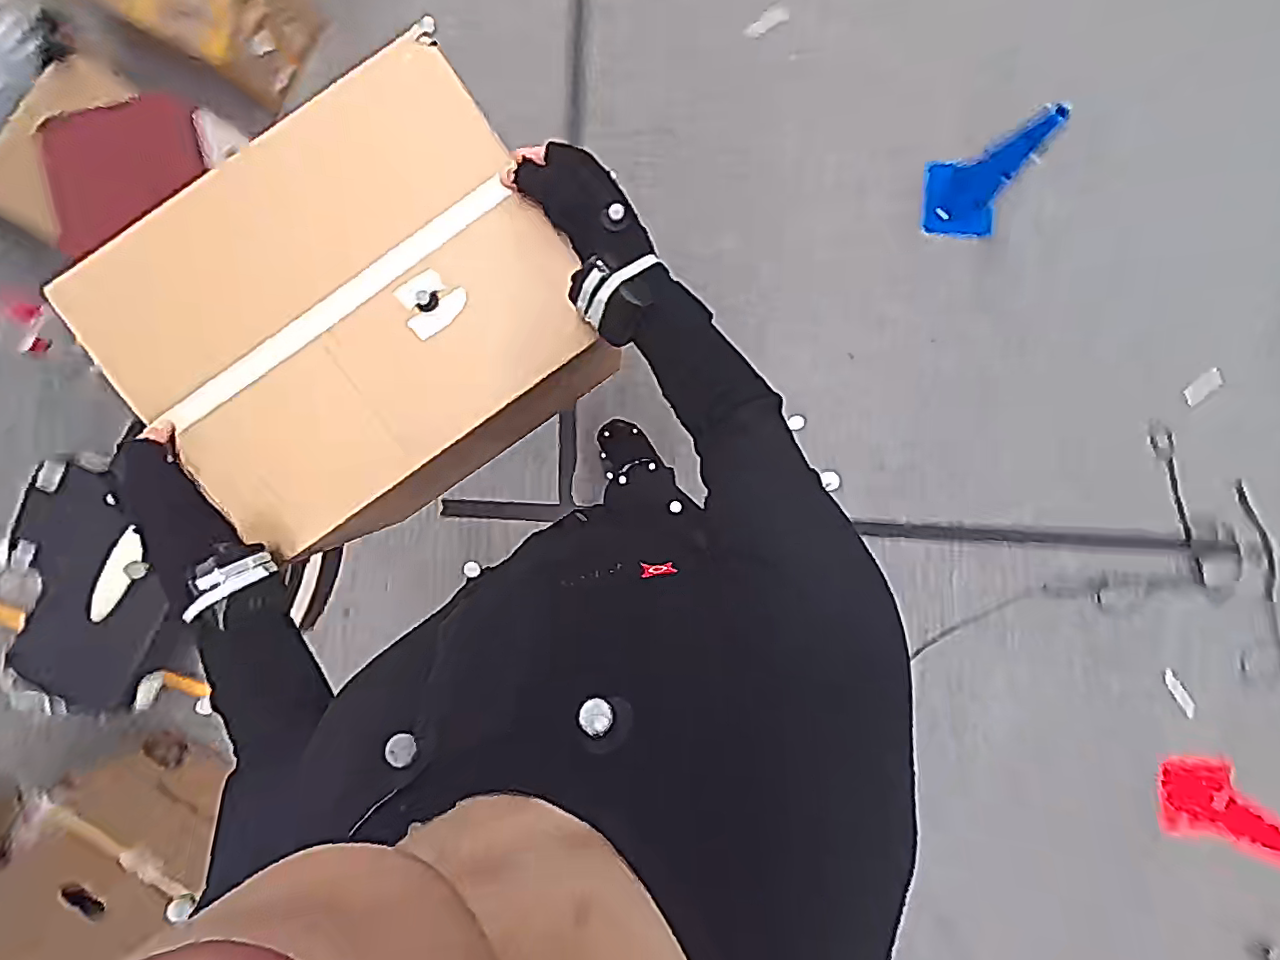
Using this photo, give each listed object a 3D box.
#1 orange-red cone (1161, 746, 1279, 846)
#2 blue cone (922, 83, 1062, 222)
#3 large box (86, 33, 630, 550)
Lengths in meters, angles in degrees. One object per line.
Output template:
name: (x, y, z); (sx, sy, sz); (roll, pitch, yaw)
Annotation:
orange-red cone: (1.556, 0.842, 1.331); (0.199, 0.360, 0.198); (-1, 91, -2)
blue cone: (0.881, -0.816, 1.337); (0.193, 0.380, 0.192); (5, 89, -1)
large box: (-0.261, -0.174, 0.643); (0.408, 0.320, 0.320); (-34, 95, -1)
